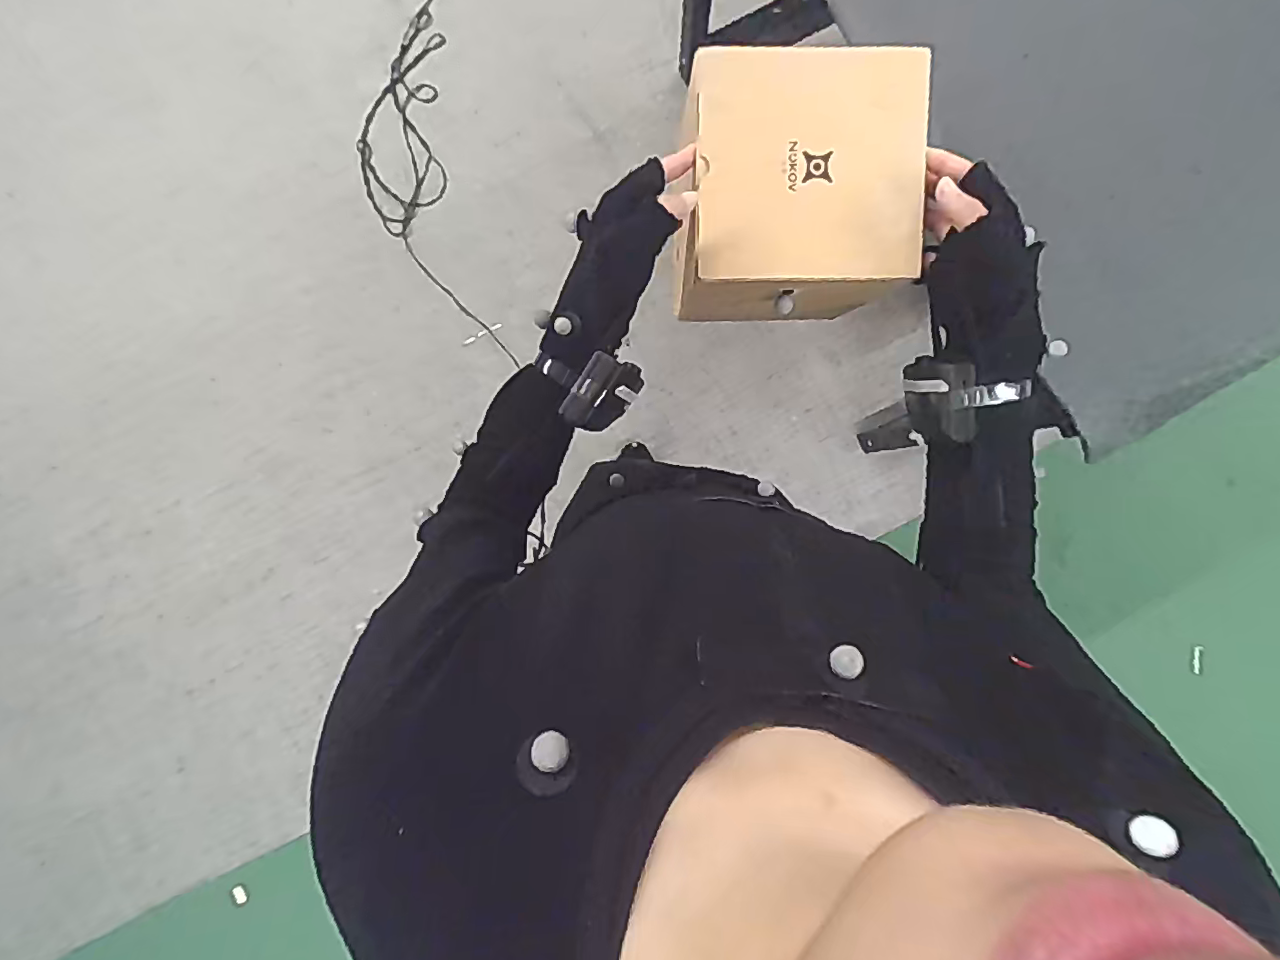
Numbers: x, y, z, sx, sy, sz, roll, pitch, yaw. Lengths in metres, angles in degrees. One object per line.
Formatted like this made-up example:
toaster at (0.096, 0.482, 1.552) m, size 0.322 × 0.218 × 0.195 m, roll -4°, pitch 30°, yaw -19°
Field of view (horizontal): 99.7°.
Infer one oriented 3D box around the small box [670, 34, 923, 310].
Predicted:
small box at (0.120, -0.252, 0.482) m, size 0.179 × 0.176 × 0.168 m, roll -1°, pitch 97°, yaw 0°
